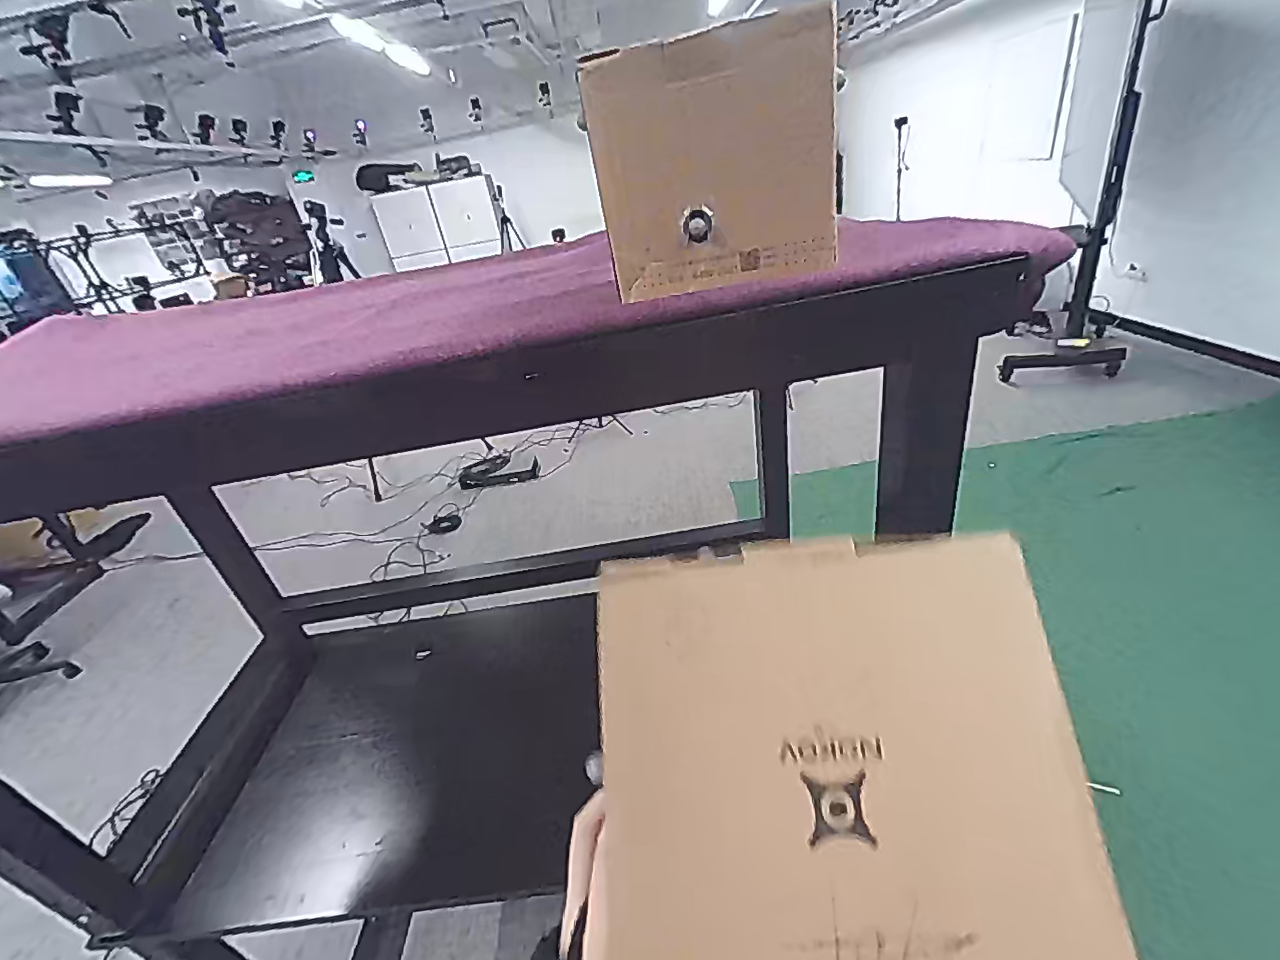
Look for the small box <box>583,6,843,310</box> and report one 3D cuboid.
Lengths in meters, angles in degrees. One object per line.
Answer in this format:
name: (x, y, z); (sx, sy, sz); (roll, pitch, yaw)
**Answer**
small box: (0.066, -0.250, 0.447); (0.168, 0.176, 0.179); (-4, 32, 12)
